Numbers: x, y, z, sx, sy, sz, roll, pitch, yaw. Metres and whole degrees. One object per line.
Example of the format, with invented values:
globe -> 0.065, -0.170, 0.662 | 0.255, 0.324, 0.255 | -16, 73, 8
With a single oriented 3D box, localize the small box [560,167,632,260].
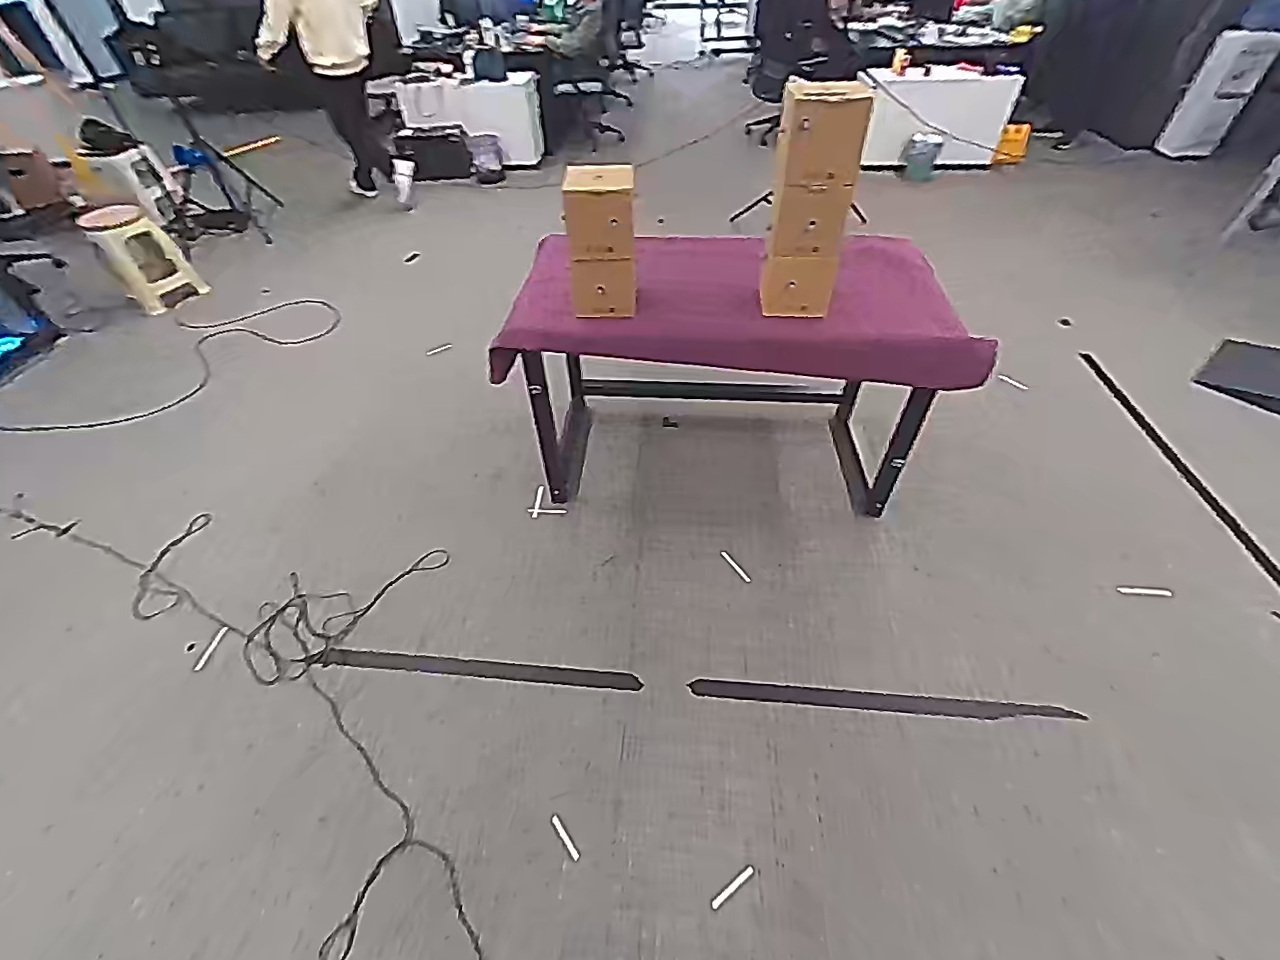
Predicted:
small box -> -0.104, -0.668, 1.361 | 0.168, 0.176, 0.179 | -1, 45, -1

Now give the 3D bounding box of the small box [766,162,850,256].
small box -> 0.413, -0.675, 1.355 | 0.168, 0.176, 0.179 | 3, 47, 5

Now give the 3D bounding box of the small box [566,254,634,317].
small box -> -0.103, -0.562, 1.484 | 0.168, 0.176, 0.179 | 0, 46, 1

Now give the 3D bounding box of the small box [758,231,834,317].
small box -> 0.416, -0.559, 1.470 | 0.168, 0.176, 0.179 | 2, 46, 4
